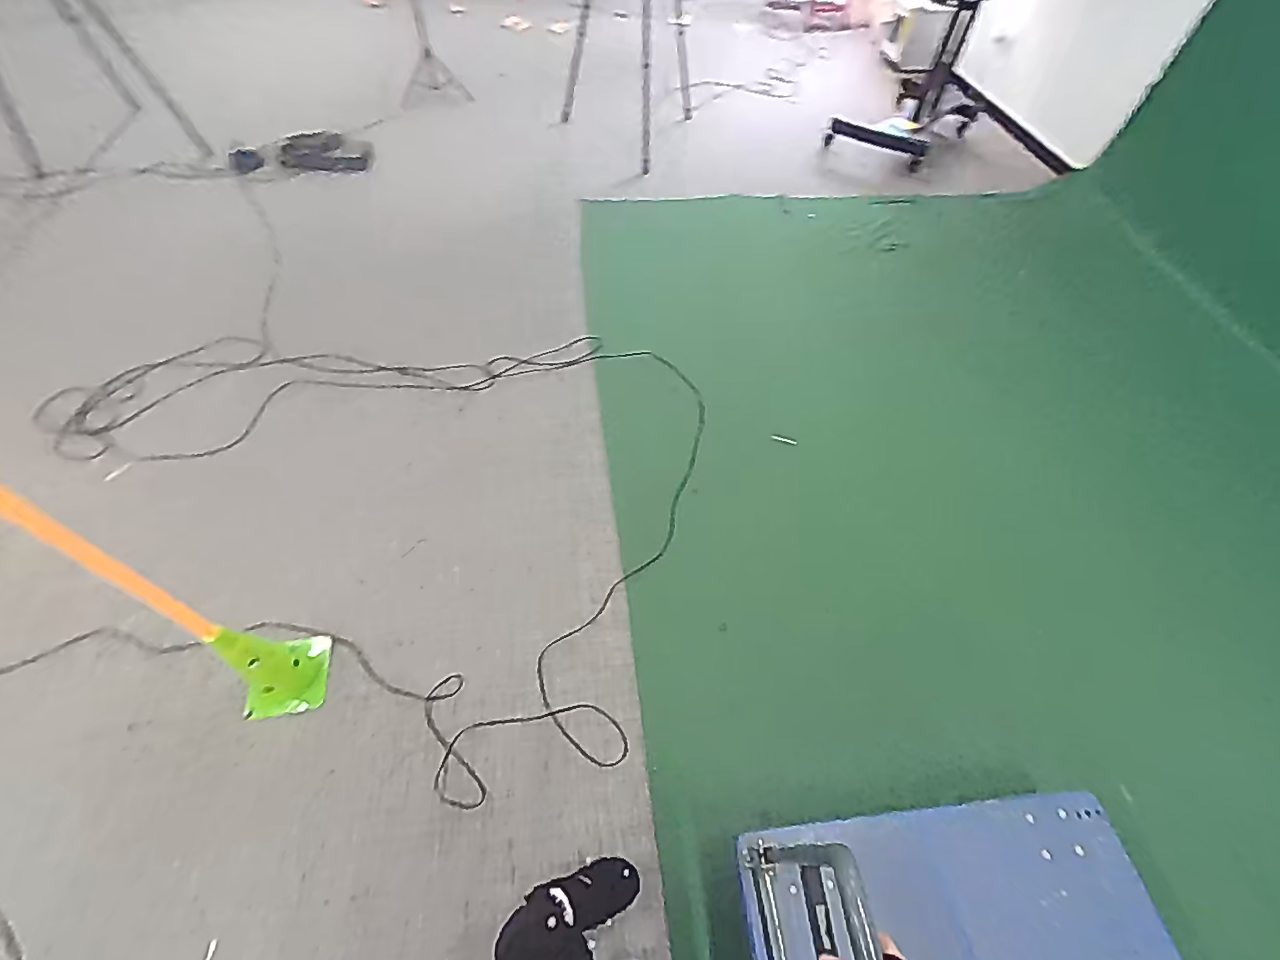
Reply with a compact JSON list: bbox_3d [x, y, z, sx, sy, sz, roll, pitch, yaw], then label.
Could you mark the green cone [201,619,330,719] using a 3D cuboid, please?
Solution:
[{"bbox_3d":[-0.968,0.441,1.357,0.200,0.368,0.202,-8,54,-8],"label":"green cone"}]
